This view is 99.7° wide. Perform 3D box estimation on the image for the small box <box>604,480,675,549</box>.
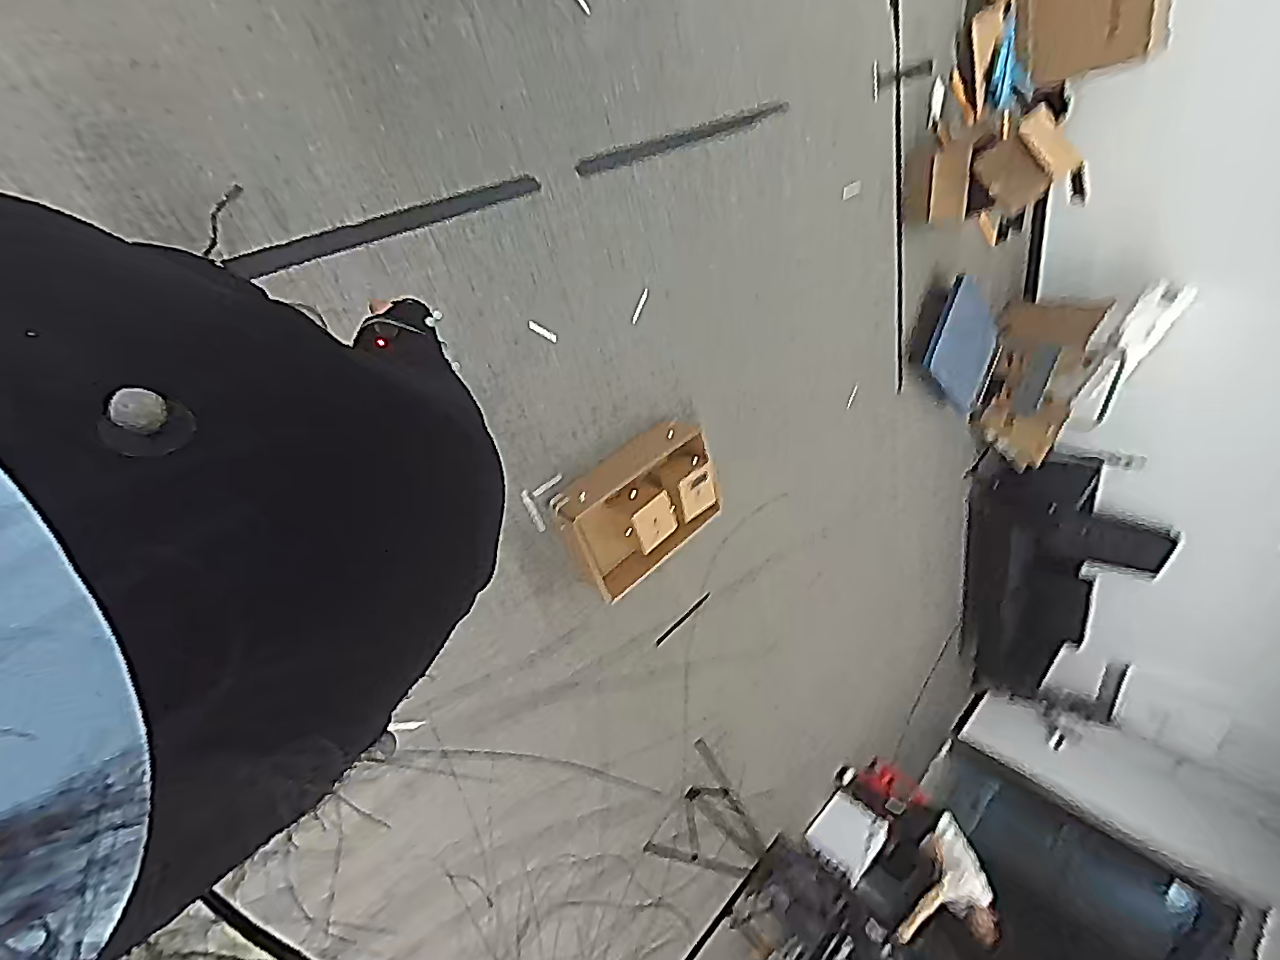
[{"bbox_3d":[-0.006,0.117,1.958,0.168,0.176,0.179,-37,126,-26],"label":"small box"}]
